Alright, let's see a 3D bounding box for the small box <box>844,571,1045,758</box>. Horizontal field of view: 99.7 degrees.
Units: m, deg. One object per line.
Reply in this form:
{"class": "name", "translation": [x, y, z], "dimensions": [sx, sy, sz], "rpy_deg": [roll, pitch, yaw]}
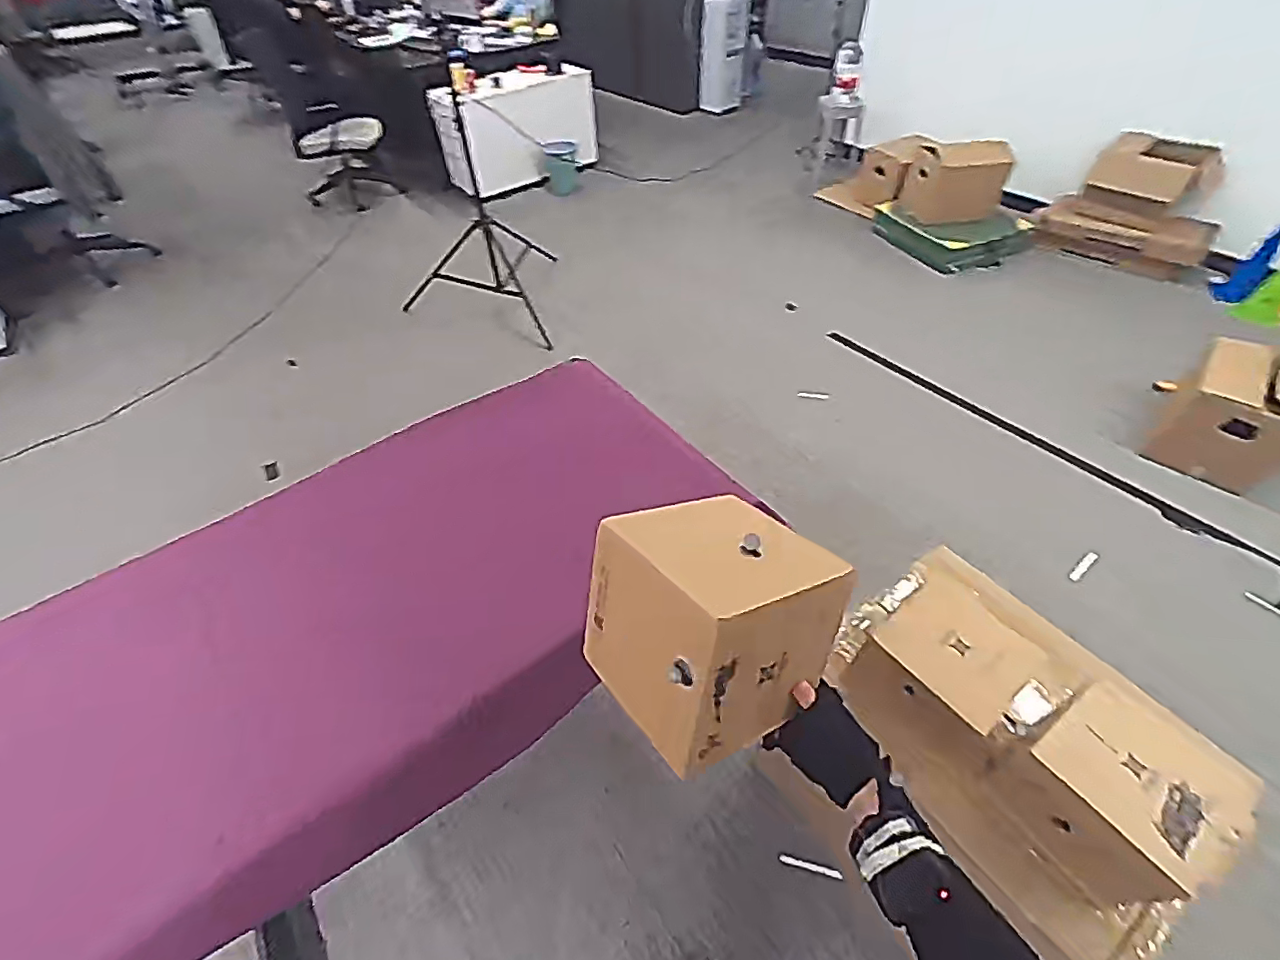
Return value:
{"class": "small box", "translation": [0.437, 0.278, 0.809], "dimensions": [0.168, 0.176, 0.179], "rpy_deg": [-32, 56, -21]}

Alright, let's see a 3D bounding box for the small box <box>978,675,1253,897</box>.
{"class": "small box", "translation": [0.588, 0.395, 0.695], "dimensions": [0.168, 0.176, 0.179], "rpy_deg": [-29, 51, -20]}

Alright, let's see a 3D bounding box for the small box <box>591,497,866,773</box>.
{"class": "small box", "translation": [0.076, 0.128, 0.522], "dimensions": [0.179, 0.168, 0.176], "rpy_deg": [-8, 27, -36]}
